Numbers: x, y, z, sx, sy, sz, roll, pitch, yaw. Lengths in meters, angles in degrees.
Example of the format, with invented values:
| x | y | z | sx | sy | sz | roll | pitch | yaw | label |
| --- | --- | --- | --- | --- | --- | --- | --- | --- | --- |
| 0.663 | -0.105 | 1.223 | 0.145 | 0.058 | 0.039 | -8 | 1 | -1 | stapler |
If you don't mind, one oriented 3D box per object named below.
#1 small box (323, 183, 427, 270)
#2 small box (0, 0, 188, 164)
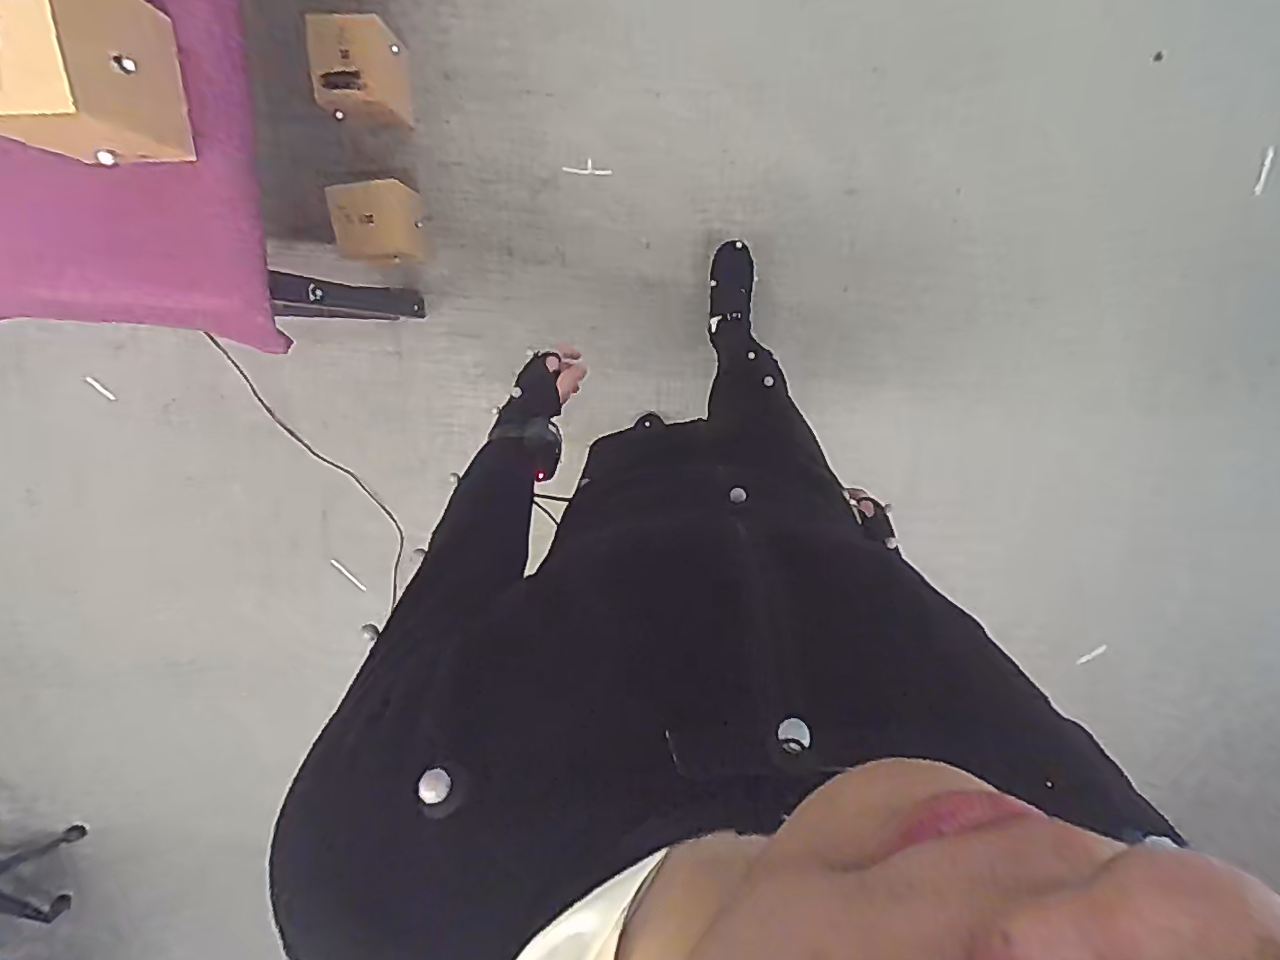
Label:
| x | y | z | sx | sy | sz | roll | pitch | yaw | label |
| --- | --- | --- | --- | --- | --- | --- | --- | --- | --- |
| -0.661 | -0.638 | 1.378 | 0.179 | 0.176 | 0.168 | -5 | 103 | 2 | small box |
| -0.711 | -0.511 | 0.660 | 0.168 | 0.176 | 0.179 | 1 | 104 | 2 | small box |
